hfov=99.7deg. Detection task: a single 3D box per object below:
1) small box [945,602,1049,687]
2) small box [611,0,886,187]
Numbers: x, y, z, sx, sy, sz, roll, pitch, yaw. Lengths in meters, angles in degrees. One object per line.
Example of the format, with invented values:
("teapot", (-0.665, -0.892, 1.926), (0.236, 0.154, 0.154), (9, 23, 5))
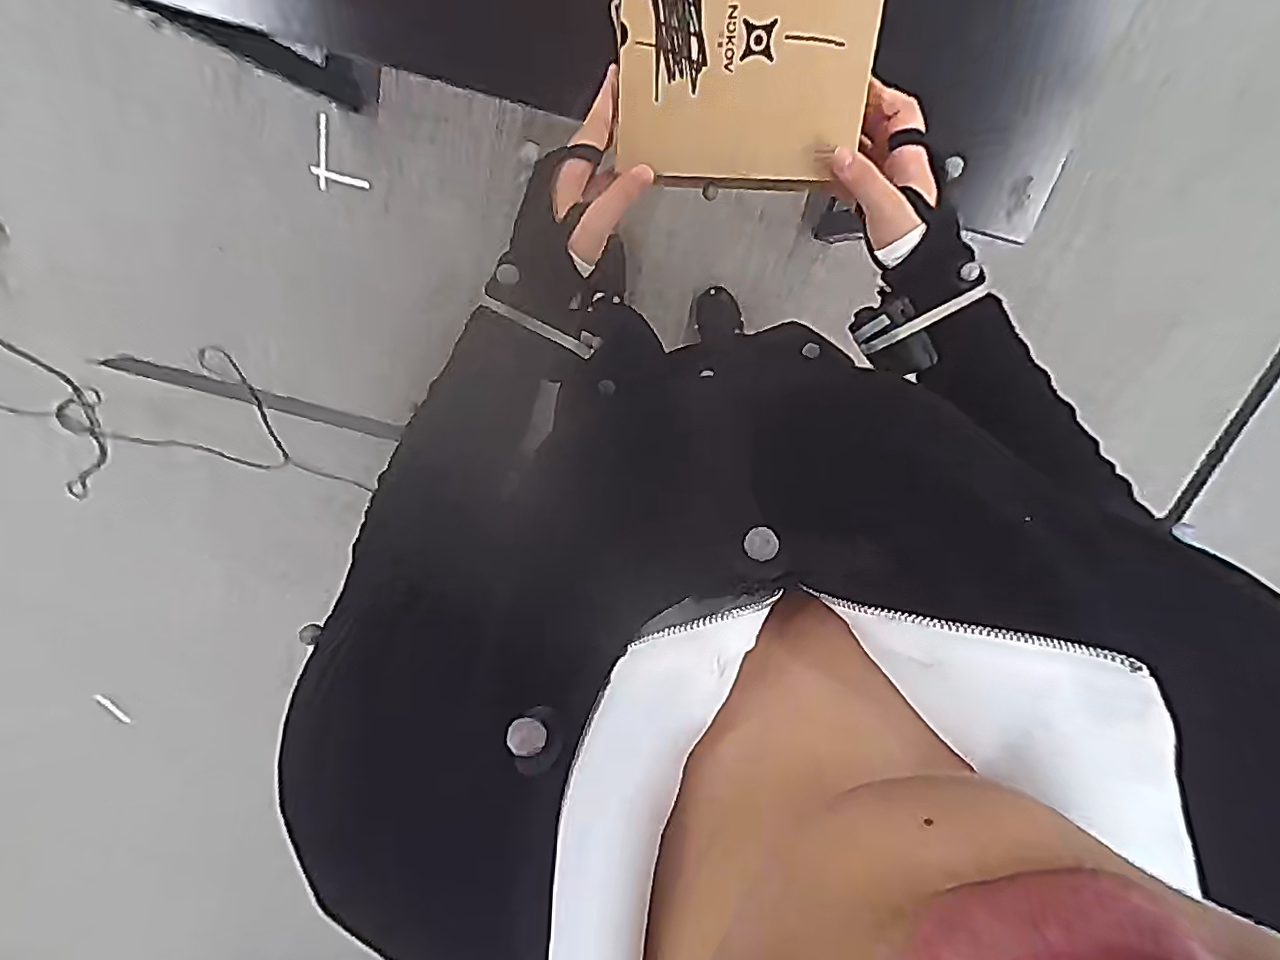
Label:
("small box", (1.067, 0.490, 1.637), (0.179, 0.176, 0.168), (12, 112, -3))
("small box", (0.073, -0.330, 0.425), (0.179, 0.176, 0.168), (3, 116, 0))
